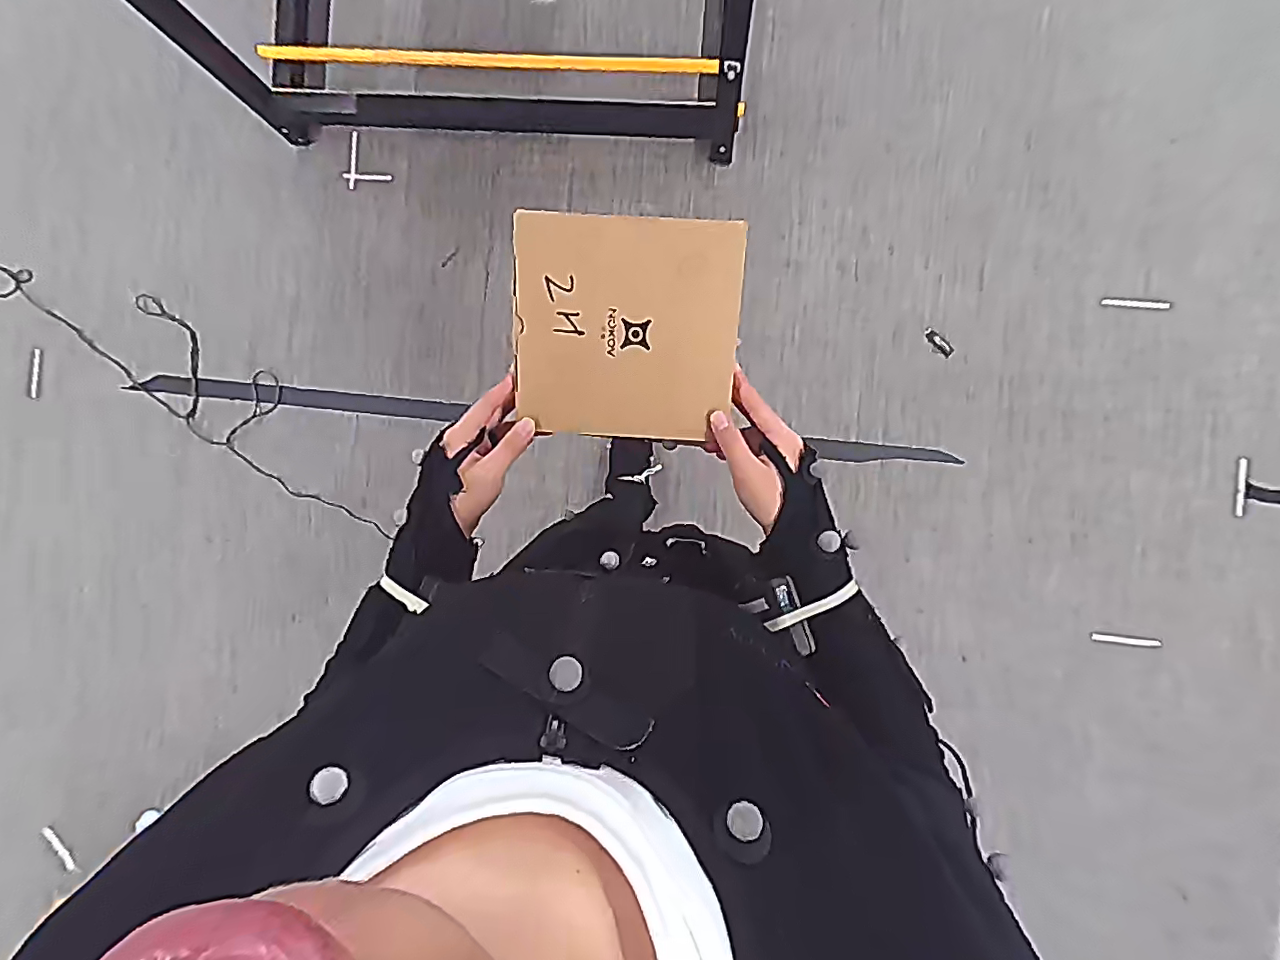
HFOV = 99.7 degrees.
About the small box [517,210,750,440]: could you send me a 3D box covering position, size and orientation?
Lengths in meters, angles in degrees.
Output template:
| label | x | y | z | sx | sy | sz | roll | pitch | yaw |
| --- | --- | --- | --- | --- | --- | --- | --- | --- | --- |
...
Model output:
| label | x | y | z | sx | sy | sz | roll | pitch | yaw |
| --- | --- | --- | --- | --- | --- | --- | --- | --- | --- |
| small box | -0.007 | -0.139 | 0.498 | 0.179 | 0.176 | 0.168 | 4 | 106 | 2 |
